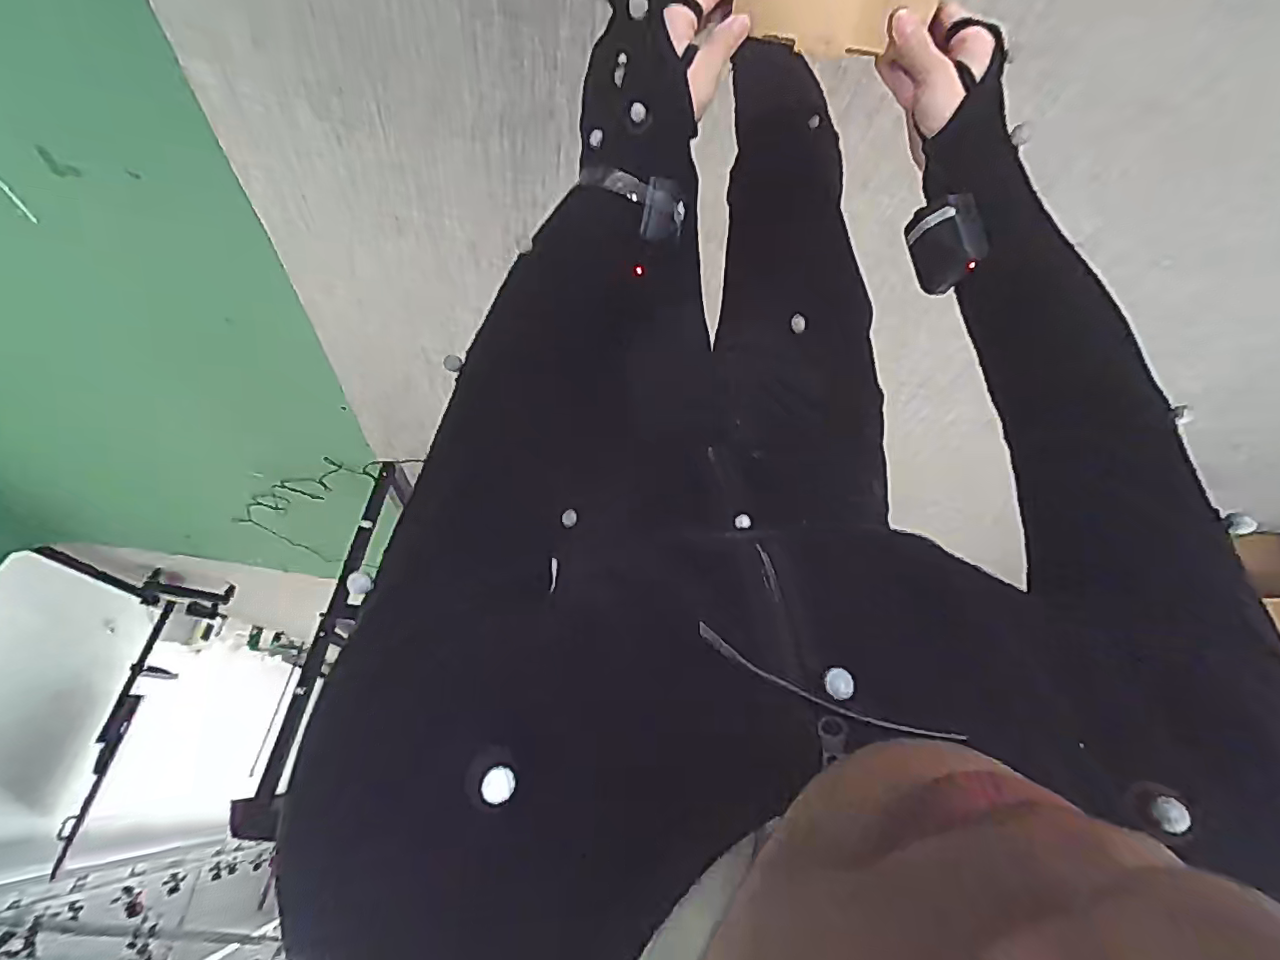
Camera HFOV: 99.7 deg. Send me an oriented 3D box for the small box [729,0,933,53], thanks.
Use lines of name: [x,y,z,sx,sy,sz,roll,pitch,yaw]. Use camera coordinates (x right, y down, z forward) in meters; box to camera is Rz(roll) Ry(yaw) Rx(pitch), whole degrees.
small box: [0.174,-0.499,0.443,0.168,0.176,0.179,6,147,-3]
